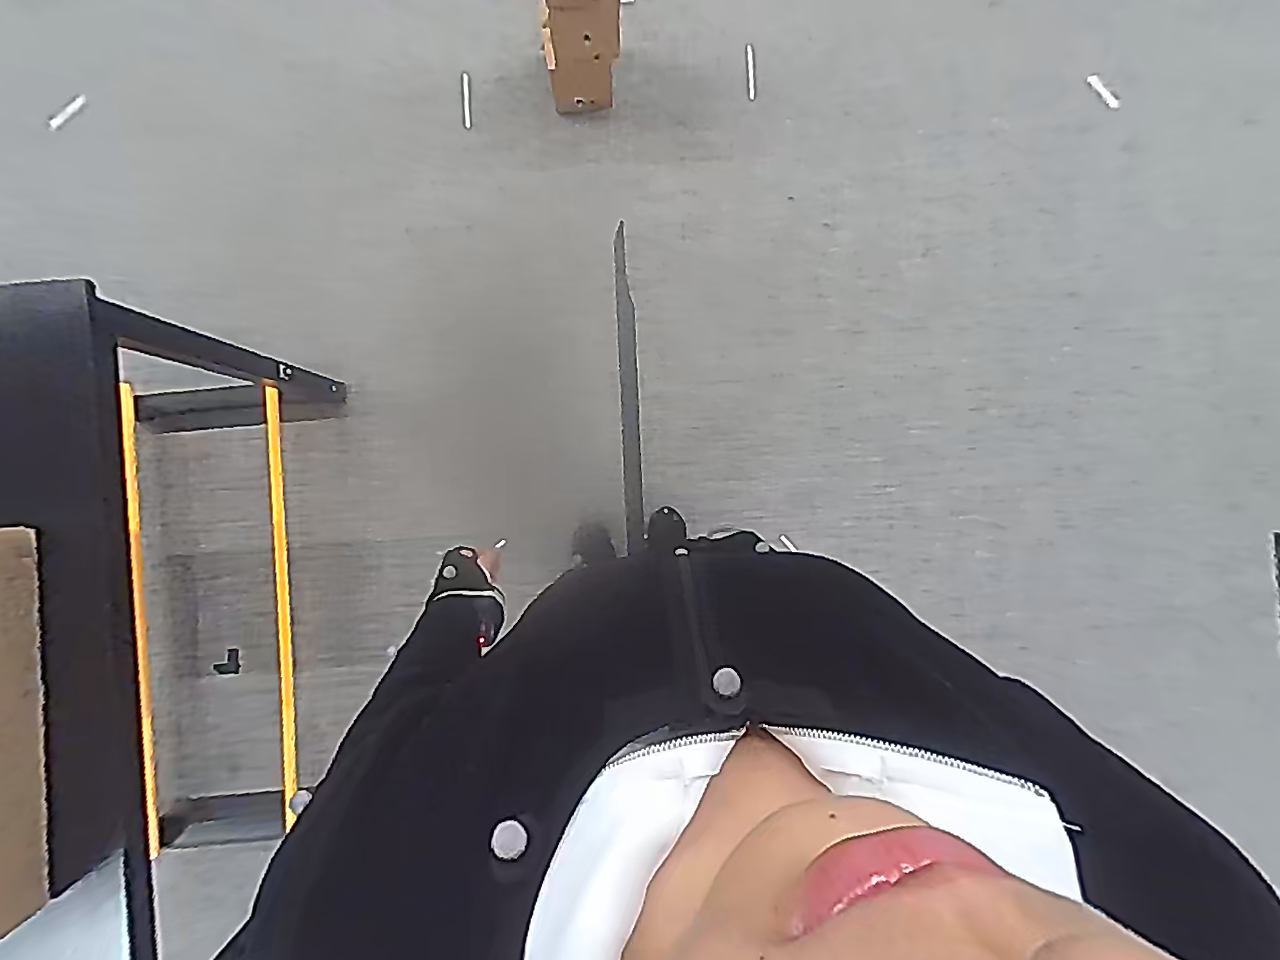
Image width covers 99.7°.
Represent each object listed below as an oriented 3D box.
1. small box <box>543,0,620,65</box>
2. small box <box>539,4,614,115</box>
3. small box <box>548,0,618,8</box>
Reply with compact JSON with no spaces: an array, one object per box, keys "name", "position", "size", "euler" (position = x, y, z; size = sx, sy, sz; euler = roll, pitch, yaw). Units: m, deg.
[{"name":"small box","position":[-0.141,-1.118,1.269],"size":[0.168,0.176,0.179],"euler":[-11,90,-1]},{"name":"small box","position":[-0.163,-1.116,1.432],"size":[0.168,0.176,0.179],"euler":[-10,91,0]},{"name":"small box","position":[-0.130,-1.124,1.103],"size":[0.168,0.176,0.179],"euler":[-6,90,0]}]
